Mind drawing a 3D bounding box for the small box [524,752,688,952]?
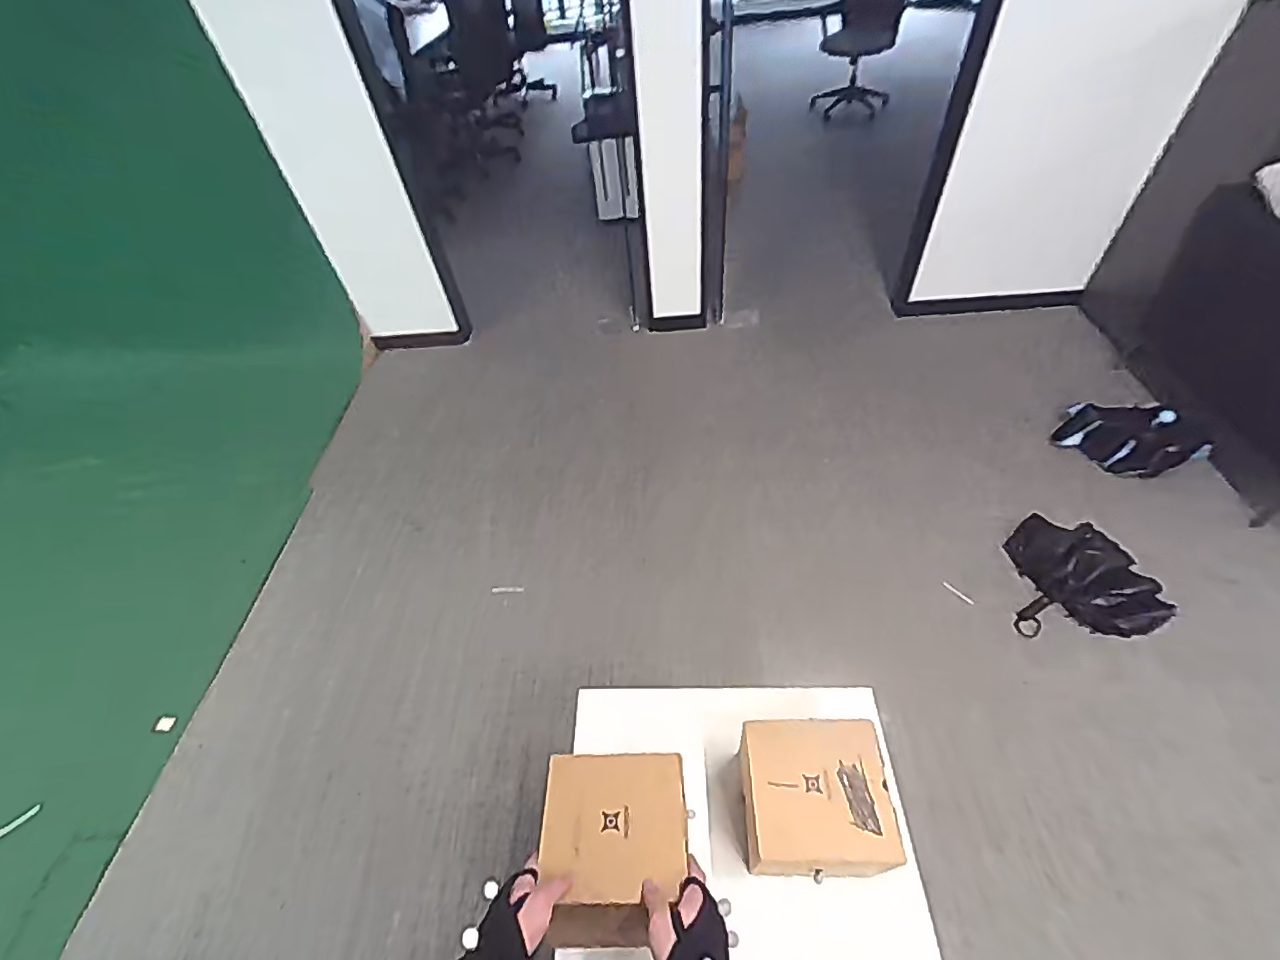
[{"bbox_3d":[-0.036,0.465,0.681,0.179,0.176,0.168,-2,36,0],"label":"small box"}]

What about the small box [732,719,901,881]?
[{"bbox_3d":[0.227,0.442,0.747,0.179,0.176,0.168,-1,48,4],"label":"small box"}]
